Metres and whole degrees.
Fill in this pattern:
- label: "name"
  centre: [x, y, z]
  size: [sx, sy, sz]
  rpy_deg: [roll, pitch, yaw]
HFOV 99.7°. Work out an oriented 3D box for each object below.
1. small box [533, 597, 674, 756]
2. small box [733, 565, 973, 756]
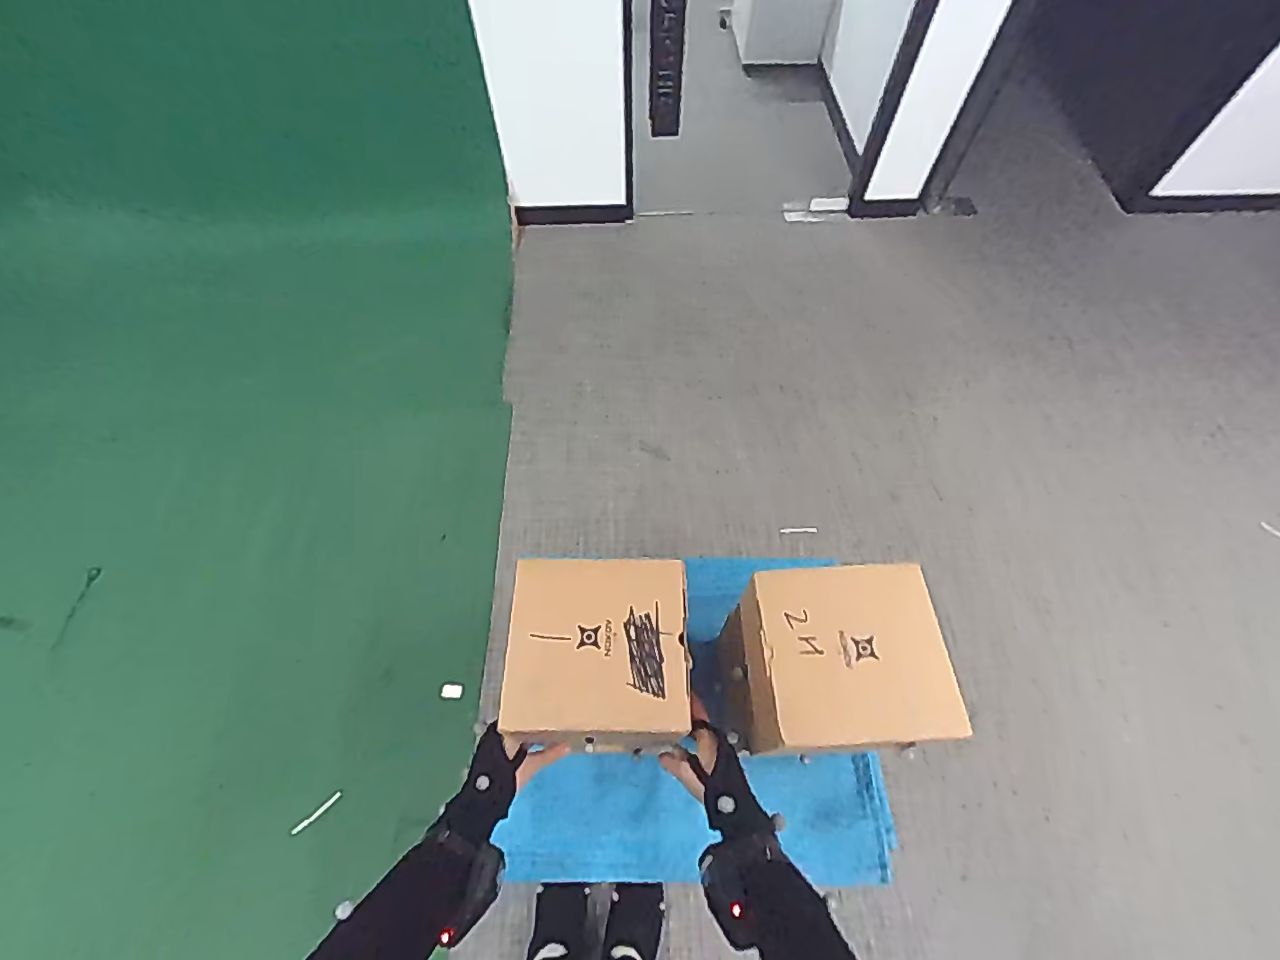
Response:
- label: "small box"
  centre: [-0.040, 0.270, 0.730]
  size: [0.168, 0.176, 0.179]
  rpy_deg: [2, 59, -1]
- label: "small box"
  centre: [0.205, 0.198, 0.580]
  size: [0.179, 0.176, 0.168]
  rpy_deg: [-2, 60, 0]
